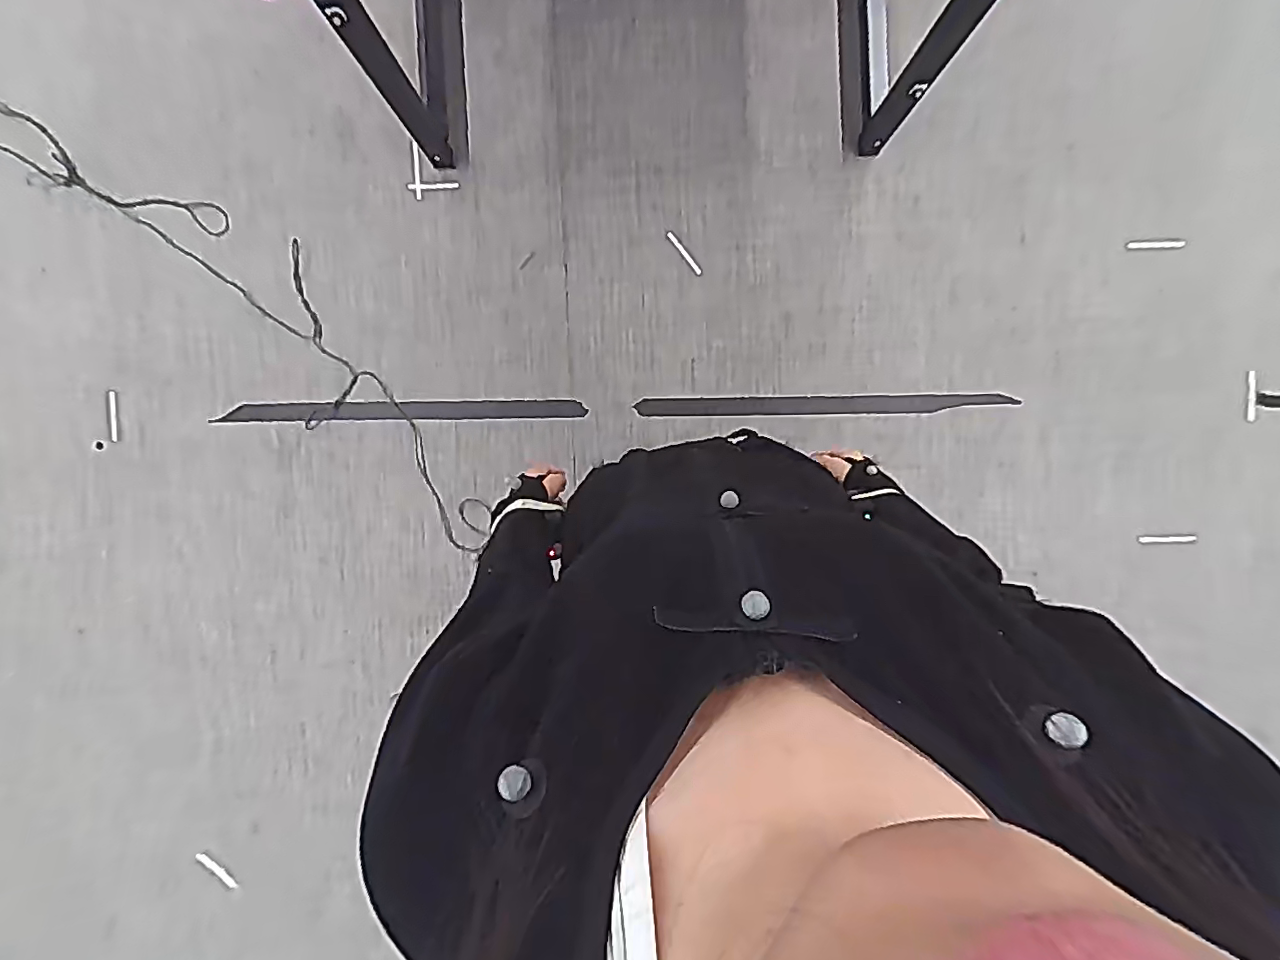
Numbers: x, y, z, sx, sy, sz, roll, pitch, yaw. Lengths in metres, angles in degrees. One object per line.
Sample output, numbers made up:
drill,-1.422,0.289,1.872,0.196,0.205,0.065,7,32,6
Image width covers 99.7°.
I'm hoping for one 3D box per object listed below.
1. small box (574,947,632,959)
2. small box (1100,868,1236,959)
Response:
small box,-0.102,1.442,1.498,0.168,0.176,0.179,-6,94,1
small box,1.266,1.091,1.309,0.168,0.176,0.179,2,92,-1
